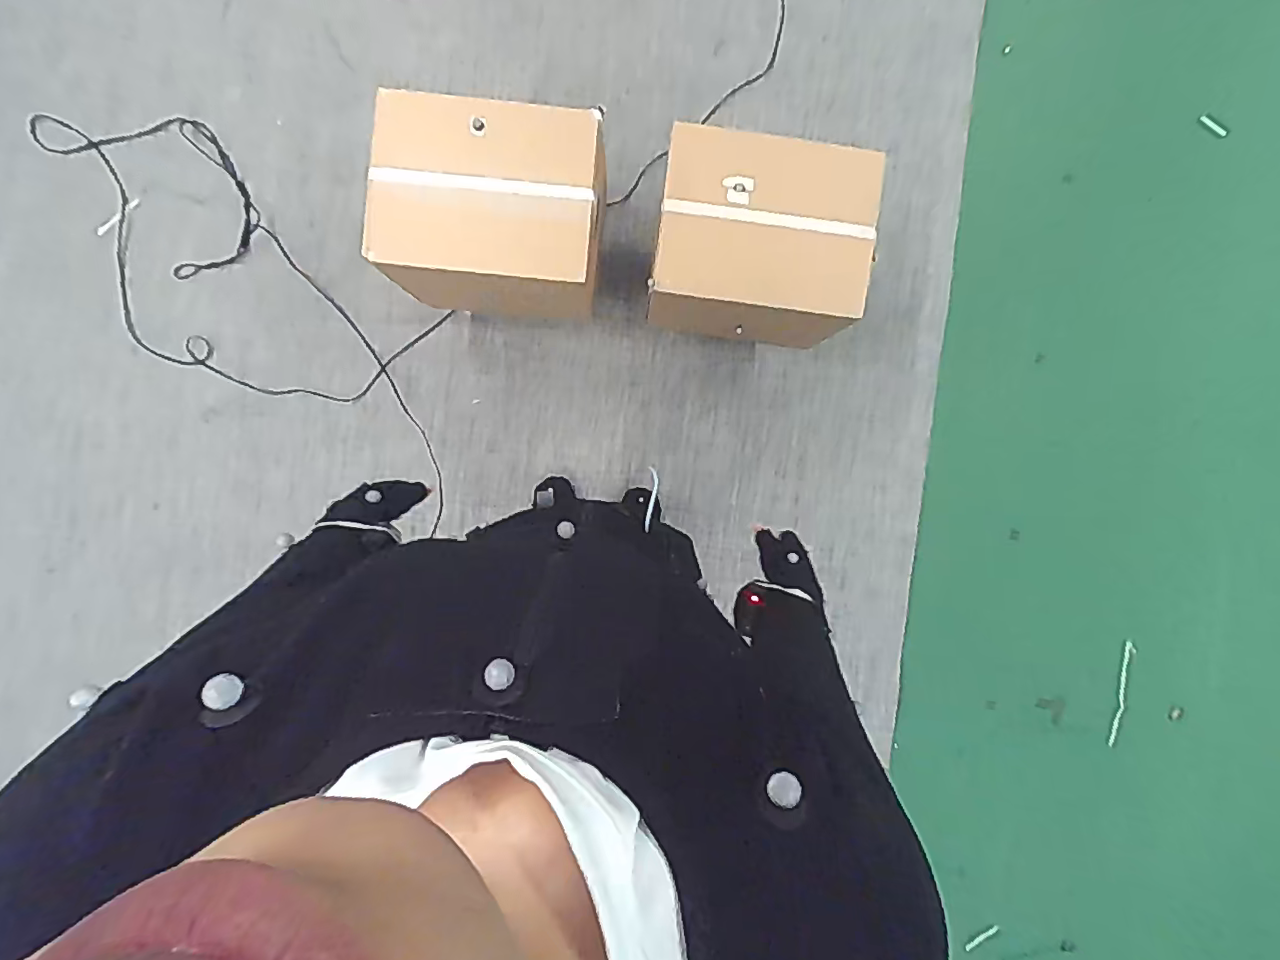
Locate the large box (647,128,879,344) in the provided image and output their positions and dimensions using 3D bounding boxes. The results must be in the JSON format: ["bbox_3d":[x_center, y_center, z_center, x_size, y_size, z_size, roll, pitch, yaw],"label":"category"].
[{"bbox_3d":[0.237,-0.493,1.170,0.408,0.320,0.320,8,92,-2],"label":"large box"}]
